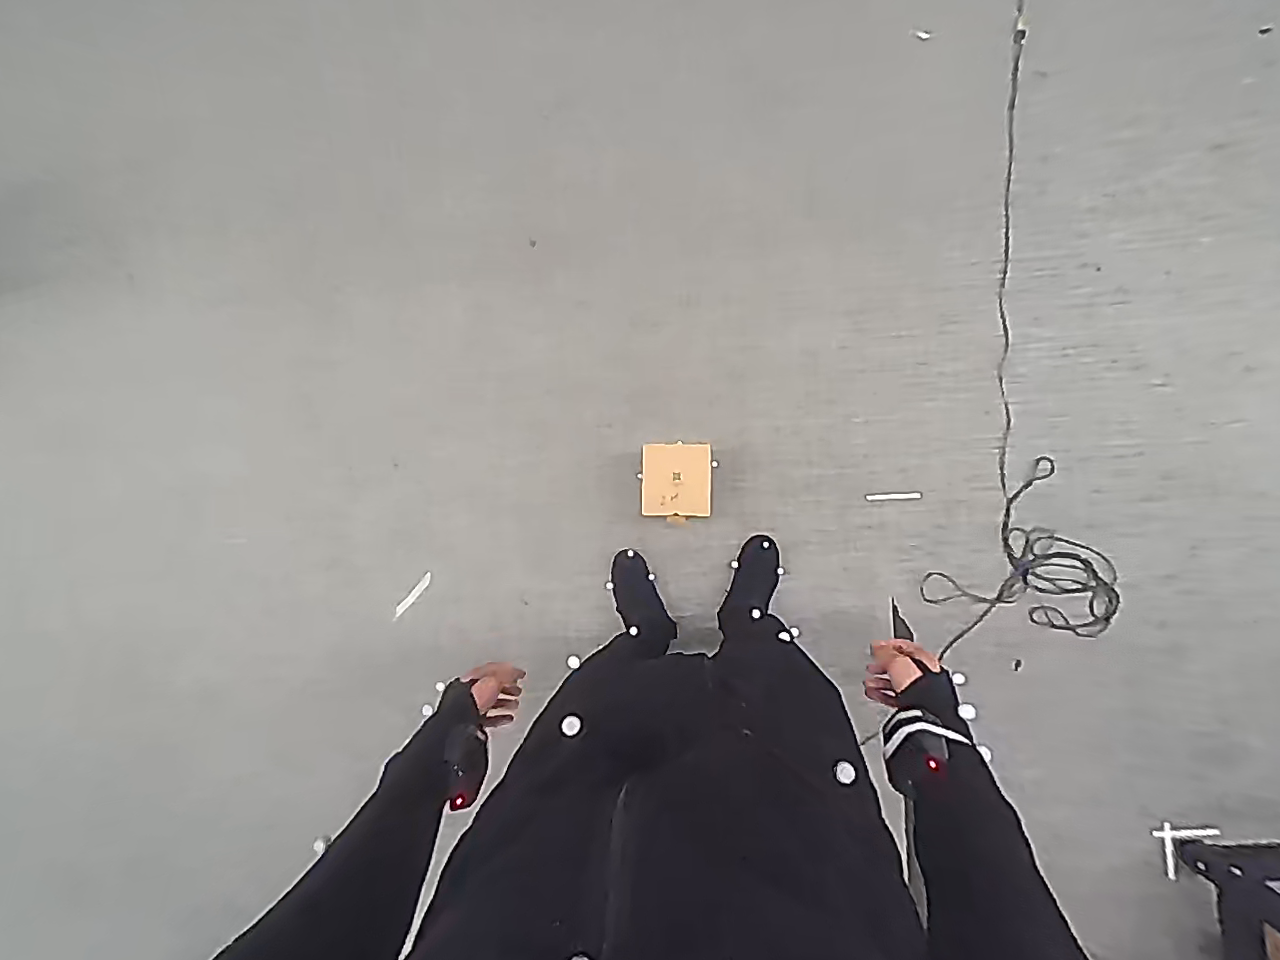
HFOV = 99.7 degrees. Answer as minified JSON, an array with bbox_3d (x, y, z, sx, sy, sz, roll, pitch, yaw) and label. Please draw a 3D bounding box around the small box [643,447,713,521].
[{"bbox_3d":[0.097,0.014,1.371,0.168,0.176,0.179,1,88,5],"label":"small box"}]
